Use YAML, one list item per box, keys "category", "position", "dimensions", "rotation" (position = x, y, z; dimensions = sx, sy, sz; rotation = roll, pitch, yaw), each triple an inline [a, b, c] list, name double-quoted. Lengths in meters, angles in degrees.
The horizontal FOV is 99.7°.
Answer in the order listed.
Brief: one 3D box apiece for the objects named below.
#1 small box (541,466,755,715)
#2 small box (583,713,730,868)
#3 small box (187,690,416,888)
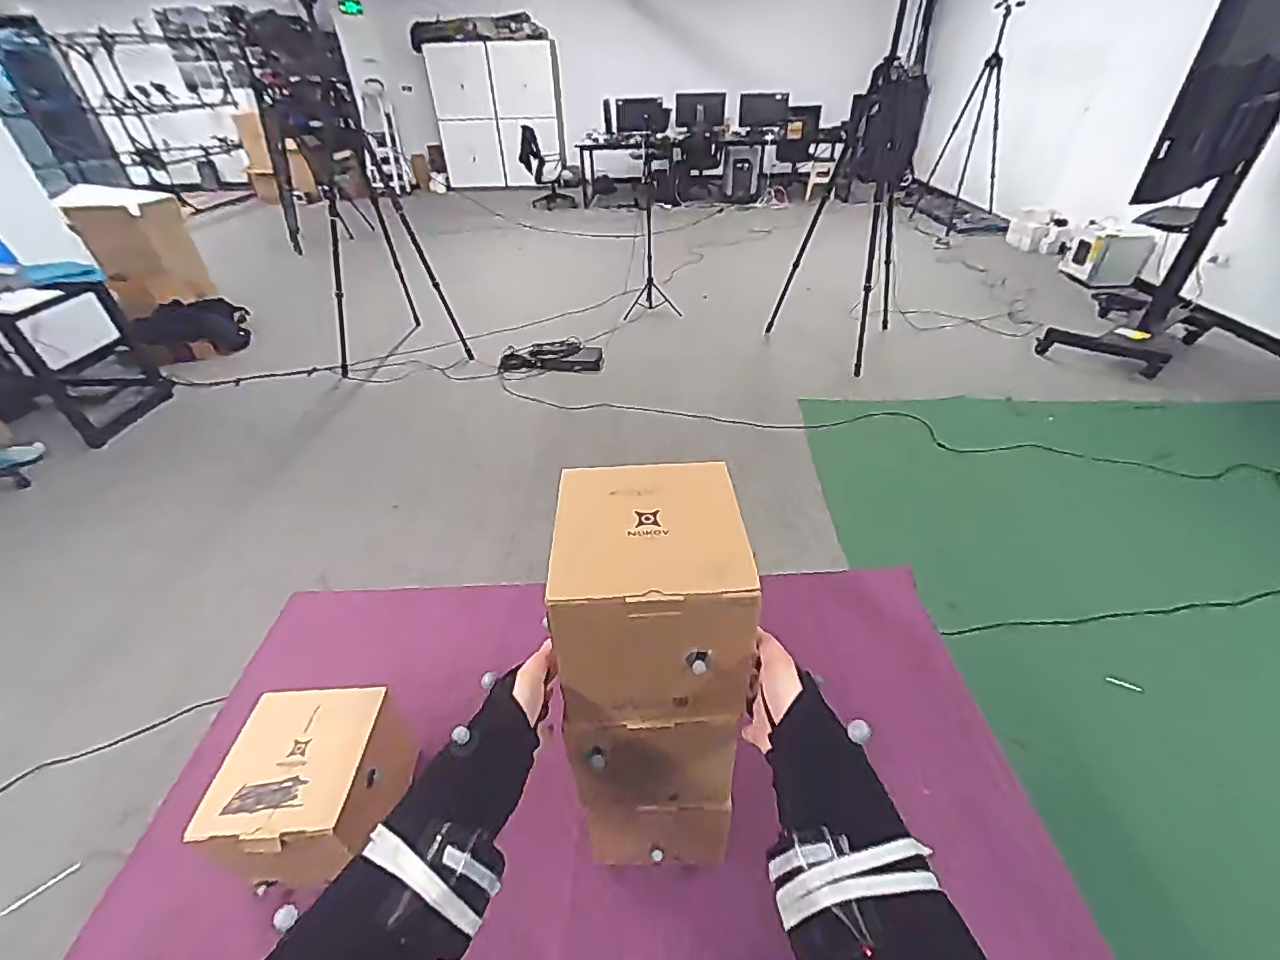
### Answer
- category: "small box"
  position: [0.008, 0.107, 0.516]
  dimensions: [0.168, 0.176, 0.179]
  rotation: [-2, 36, 0]
- category: "small box"
  position: [0.023, 0.373, 0.707]
  dimensions: [0.168, 0.176, 0.179]
  rotation: [-1, 37, 3]
- category: "small box"
  position: [-0.410, 0.400, 0.698]
  dimensions: [0.168, 0.176, 0.179]
  rotation: [-3, 36, -1]
